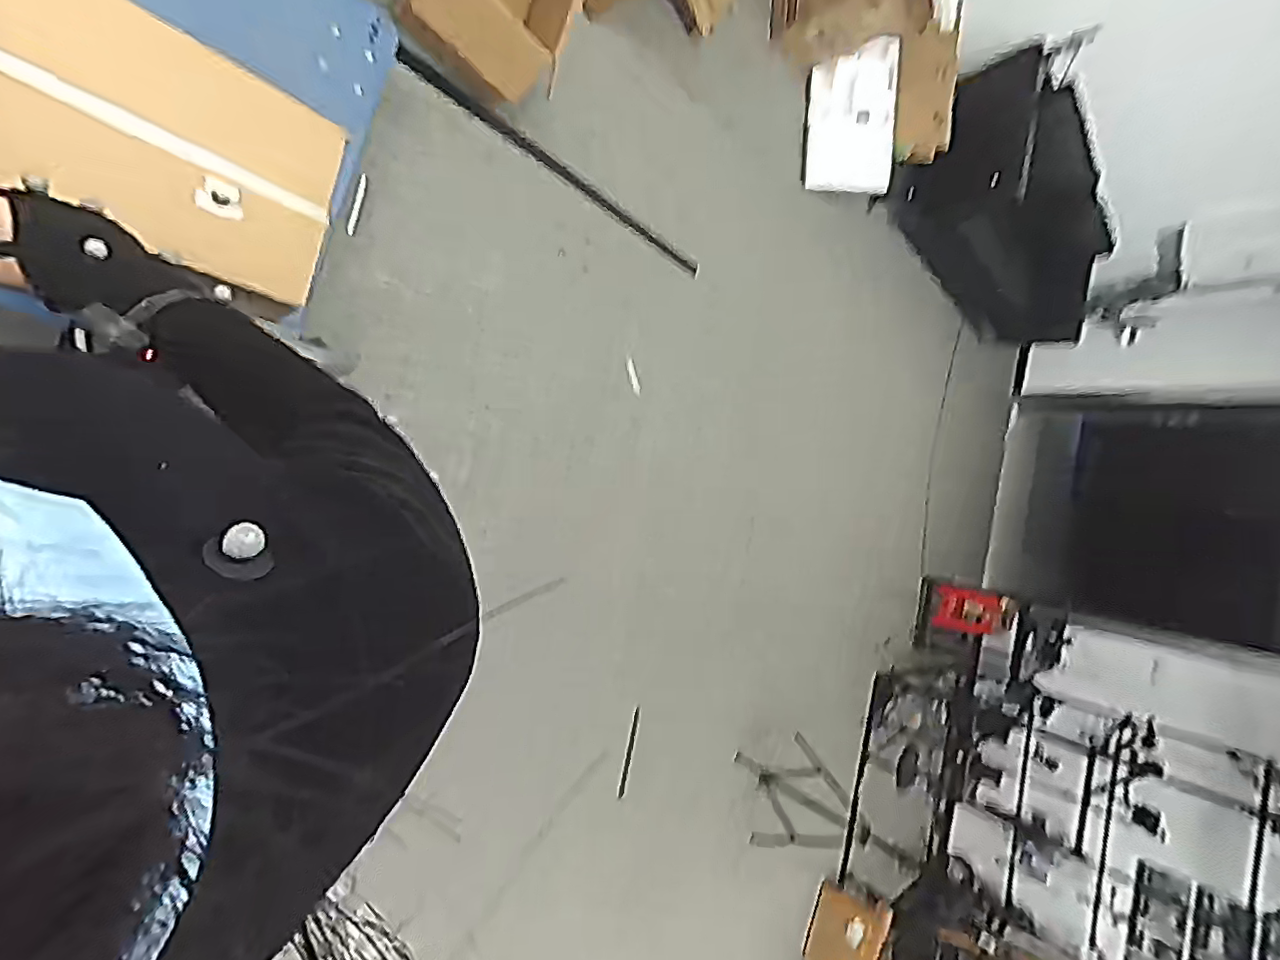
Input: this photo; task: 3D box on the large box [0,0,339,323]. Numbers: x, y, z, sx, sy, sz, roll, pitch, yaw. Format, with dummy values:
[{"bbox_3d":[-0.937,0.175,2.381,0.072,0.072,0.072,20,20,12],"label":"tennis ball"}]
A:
[{"bbox_3d":[-0.783,-0.489,0.873,0.408,0.320,0.320,17,84,-45],"label":"large box"}]
